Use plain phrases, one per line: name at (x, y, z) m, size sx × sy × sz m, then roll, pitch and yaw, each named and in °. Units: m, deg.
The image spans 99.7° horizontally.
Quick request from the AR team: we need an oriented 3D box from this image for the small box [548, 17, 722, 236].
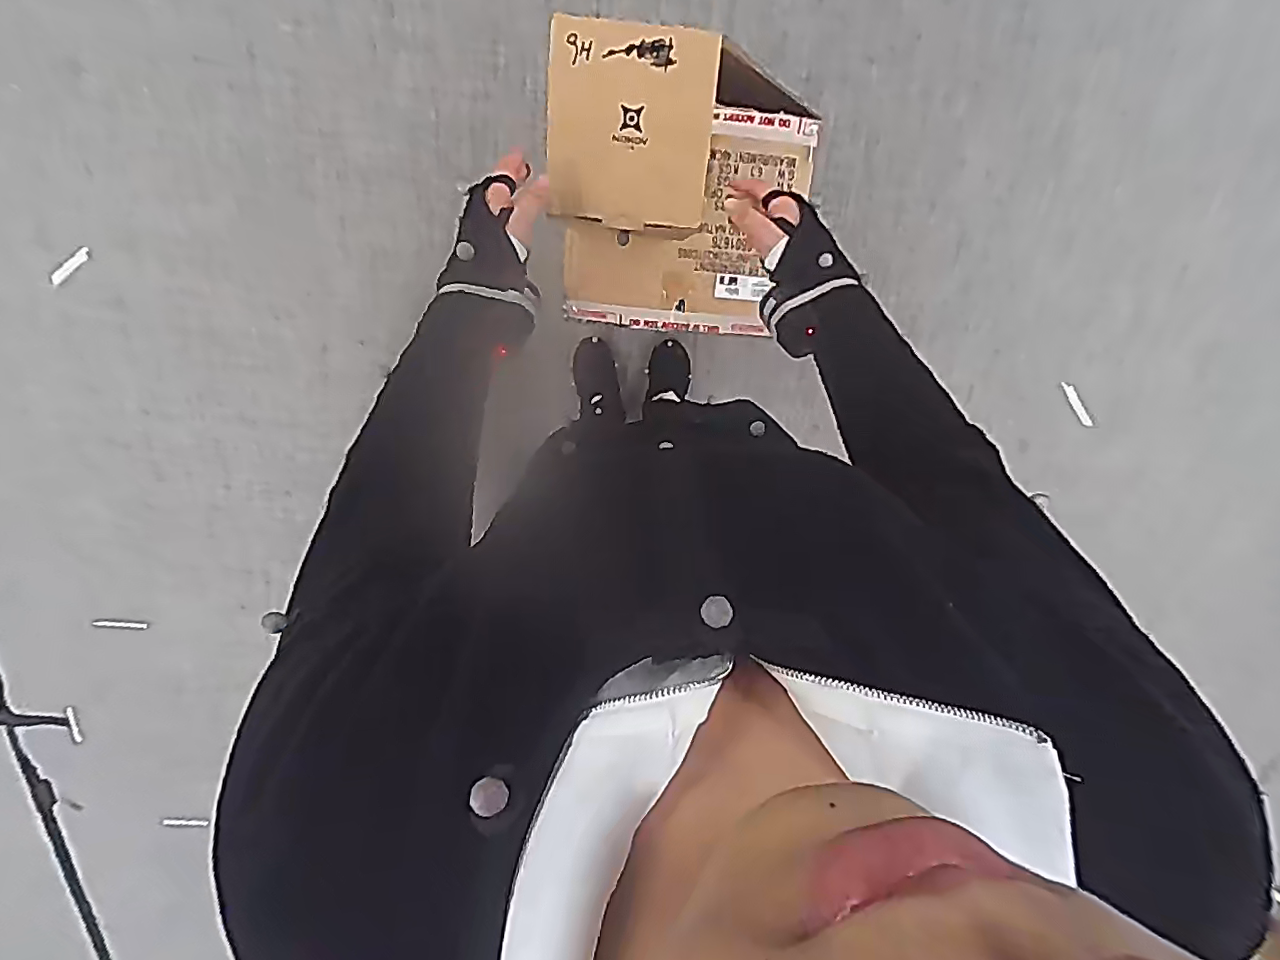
small box at (-0.008, -0.382, 0.619) m, size 0.168 × 0.176 × 0.179 m, roll 5°, pitch 112°, yaw -2°
